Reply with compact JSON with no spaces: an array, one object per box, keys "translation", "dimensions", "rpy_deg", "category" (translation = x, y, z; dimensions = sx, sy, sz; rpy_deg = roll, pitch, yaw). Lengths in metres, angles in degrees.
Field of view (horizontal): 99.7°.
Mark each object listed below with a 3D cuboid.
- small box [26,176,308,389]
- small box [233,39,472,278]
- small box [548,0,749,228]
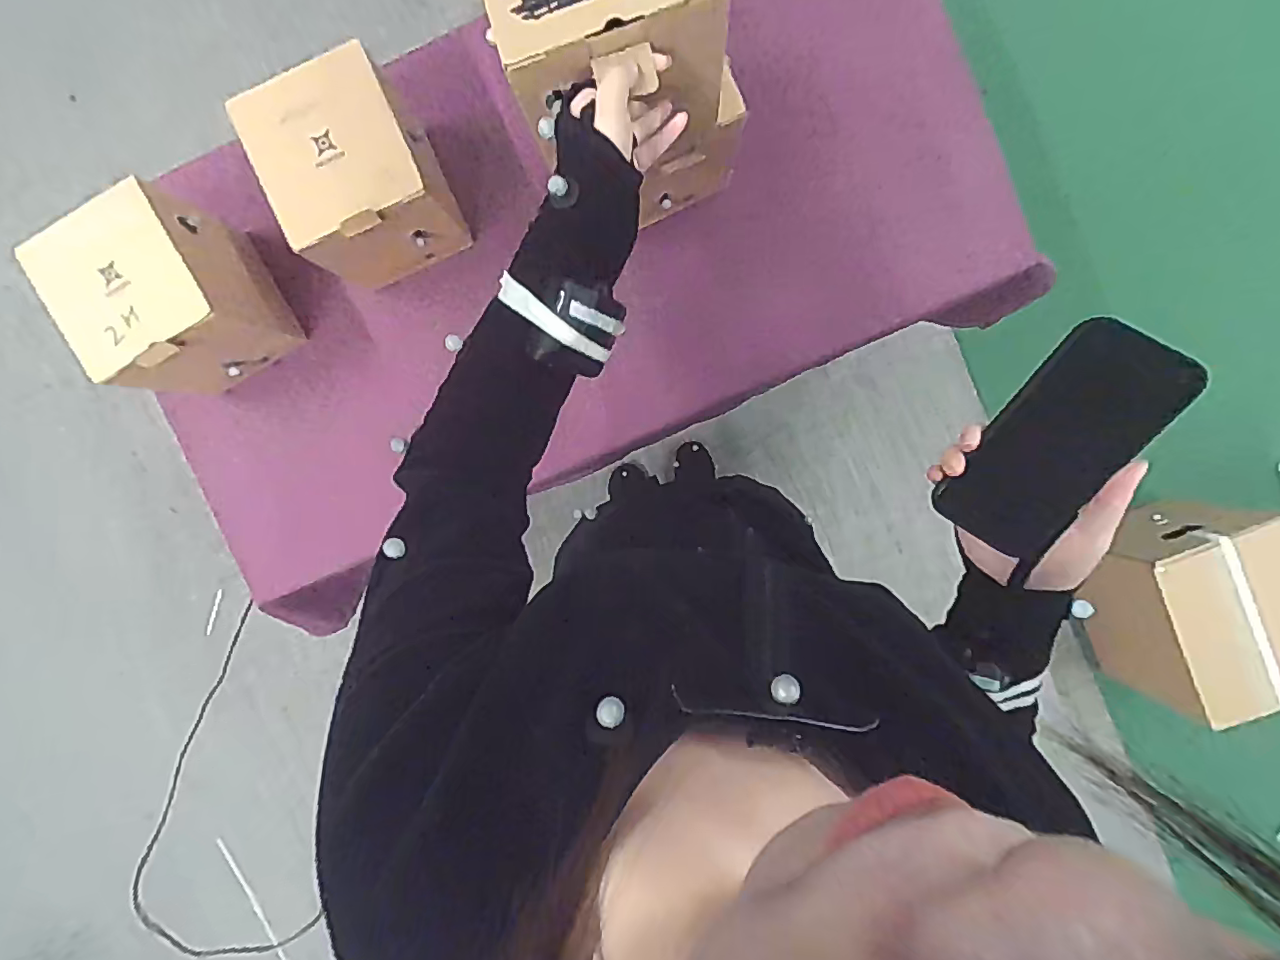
[{"translation":[-0.579,-0.232,0.688],"dimensions":[0.168,0.176,0.179],"rpy_deg":[-29,93,4],"category":"small box"},{"translation":[-0.334,-0.371,0.669],"dimensions":[0.168,0.176,0.179],"rpy_deg":[-23,93,3],"category":"small box"},{"translation":[0.010,-0.444,0.650],"dimensions":[0.168,0.176,0.179],"rpy_deg":[-24,94,4],"category":"small box"}]
